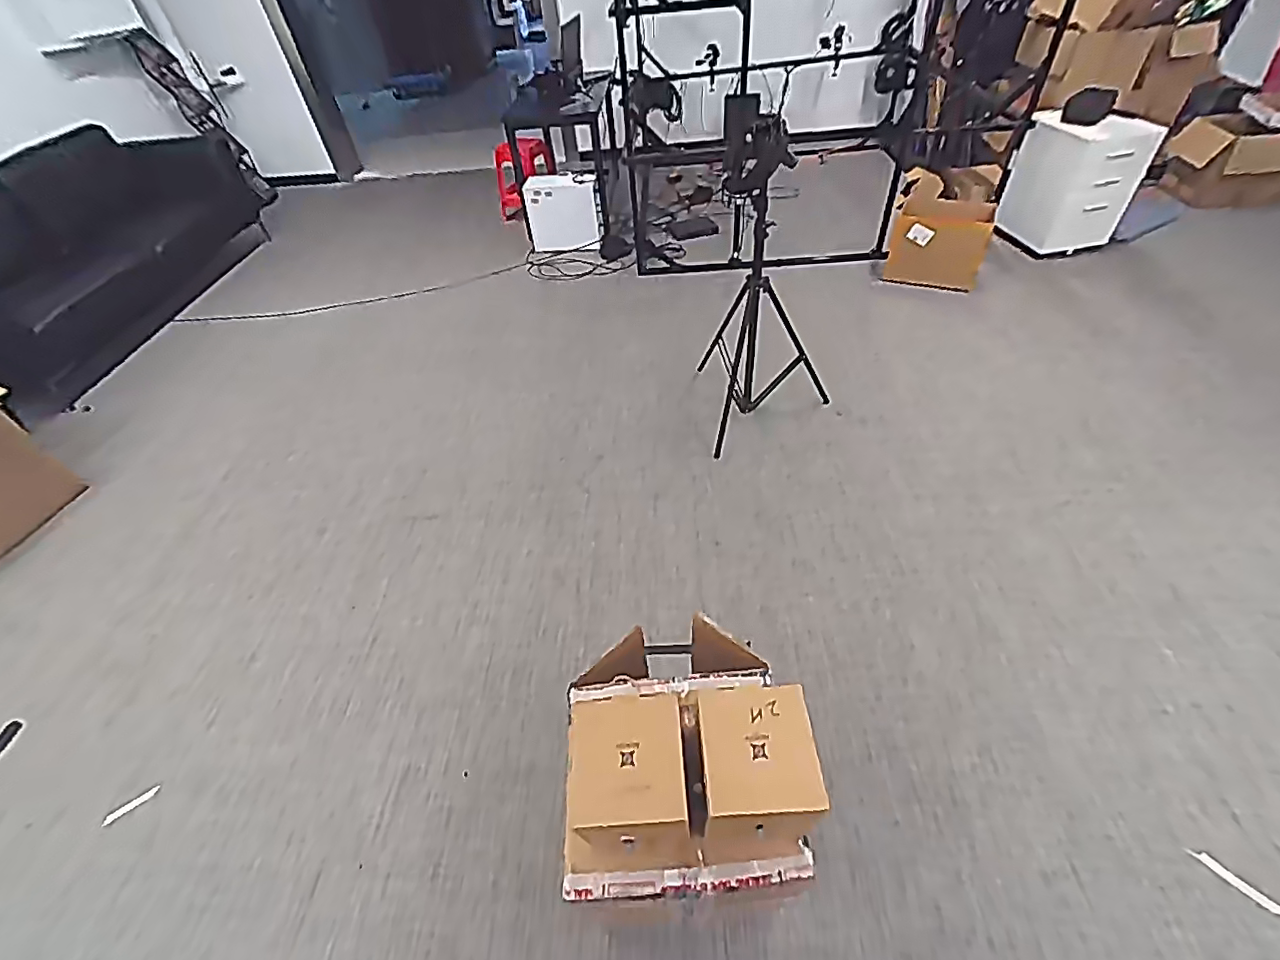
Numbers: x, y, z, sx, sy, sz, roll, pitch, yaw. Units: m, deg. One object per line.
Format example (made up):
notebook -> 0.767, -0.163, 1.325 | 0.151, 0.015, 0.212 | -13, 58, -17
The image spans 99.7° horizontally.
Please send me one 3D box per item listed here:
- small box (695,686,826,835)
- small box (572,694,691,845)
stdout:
small box -> 0.177, 0.447, 0.853 | 0.168, 0.176, 0.179 | -4, 48, 1
small box -> -0.010, 0.462, 0.860 | 0.168, 0.176, 0.179 | -6, 50, 2
